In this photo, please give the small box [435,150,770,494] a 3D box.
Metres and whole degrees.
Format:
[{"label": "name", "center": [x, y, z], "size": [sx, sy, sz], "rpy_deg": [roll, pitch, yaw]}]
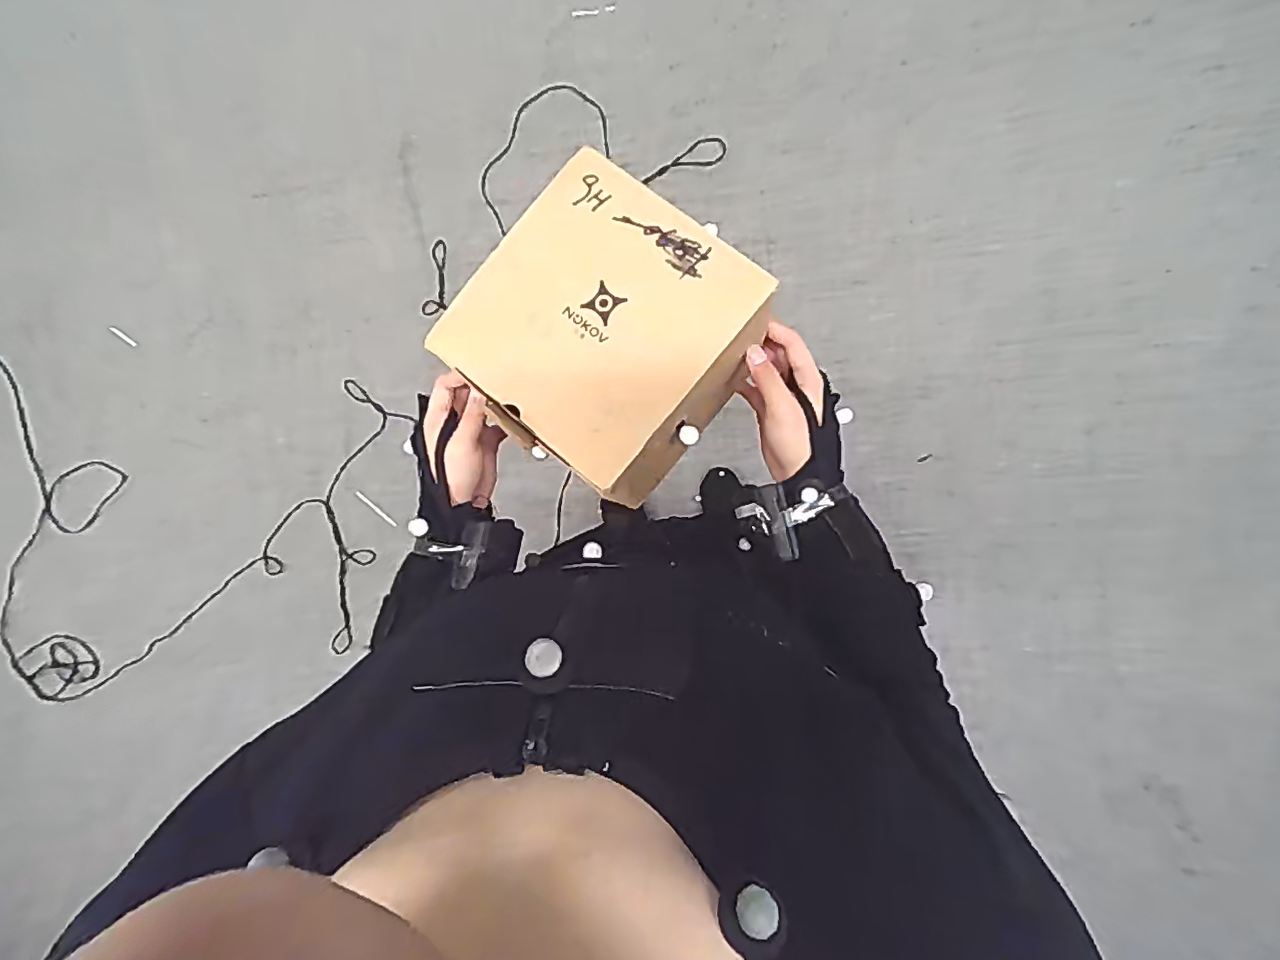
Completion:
[{"label": "small box", "center": [-0.017, -0.103, 0.438], "size": [0.168, 0.176, 0.179], "rpy_deg": [40, 90, 9]}]
